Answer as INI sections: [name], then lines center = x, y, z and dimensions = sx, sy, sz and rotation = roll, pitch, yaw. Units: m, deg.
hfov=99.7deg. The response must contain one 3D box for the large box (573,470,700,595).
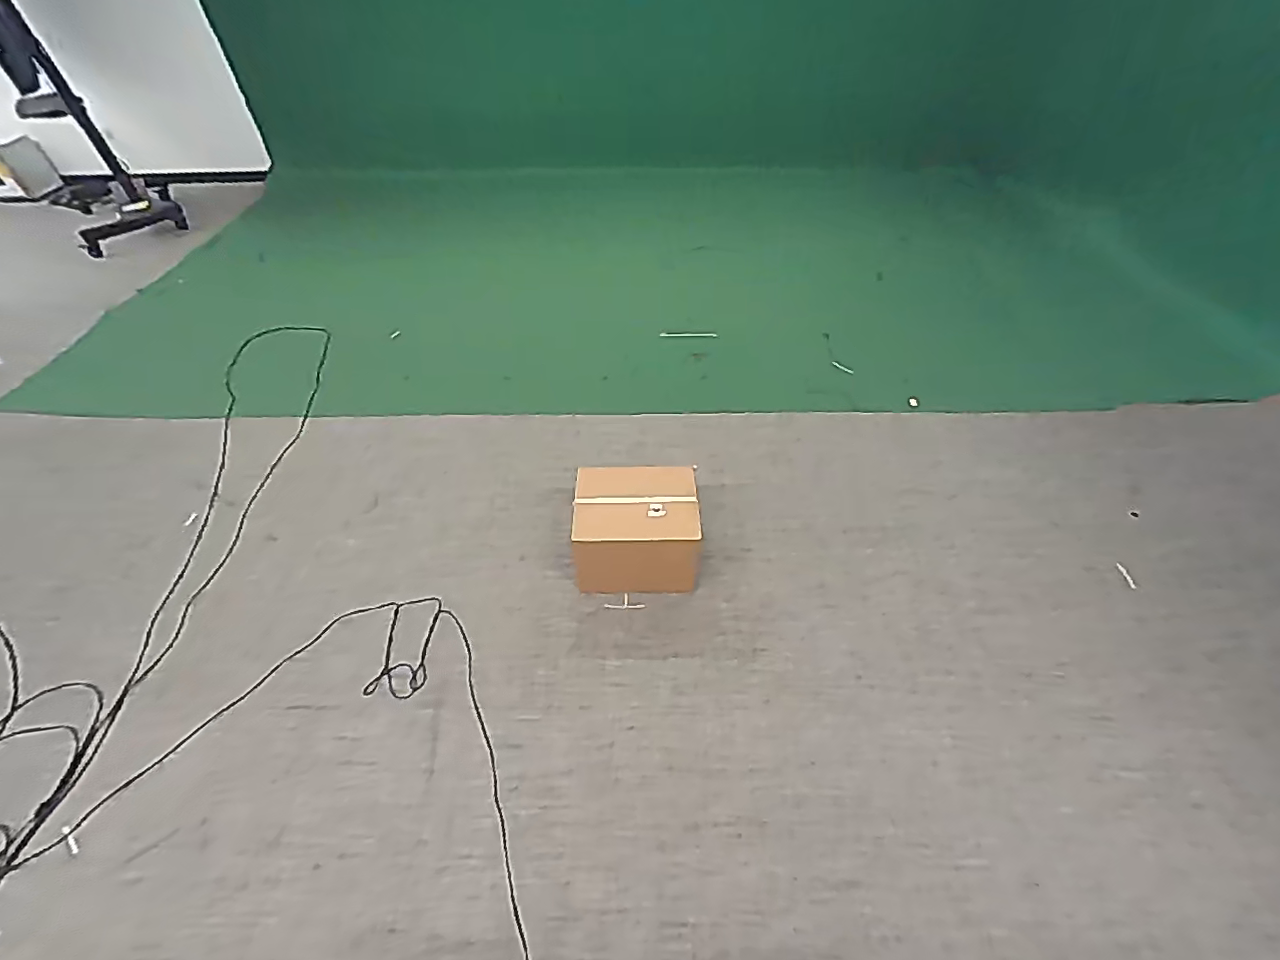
[large box]
center = -0.017, 0.186, 1.883
dimensions = 0.408, 0.320, 0.320
rotation = -1, 47, -1
